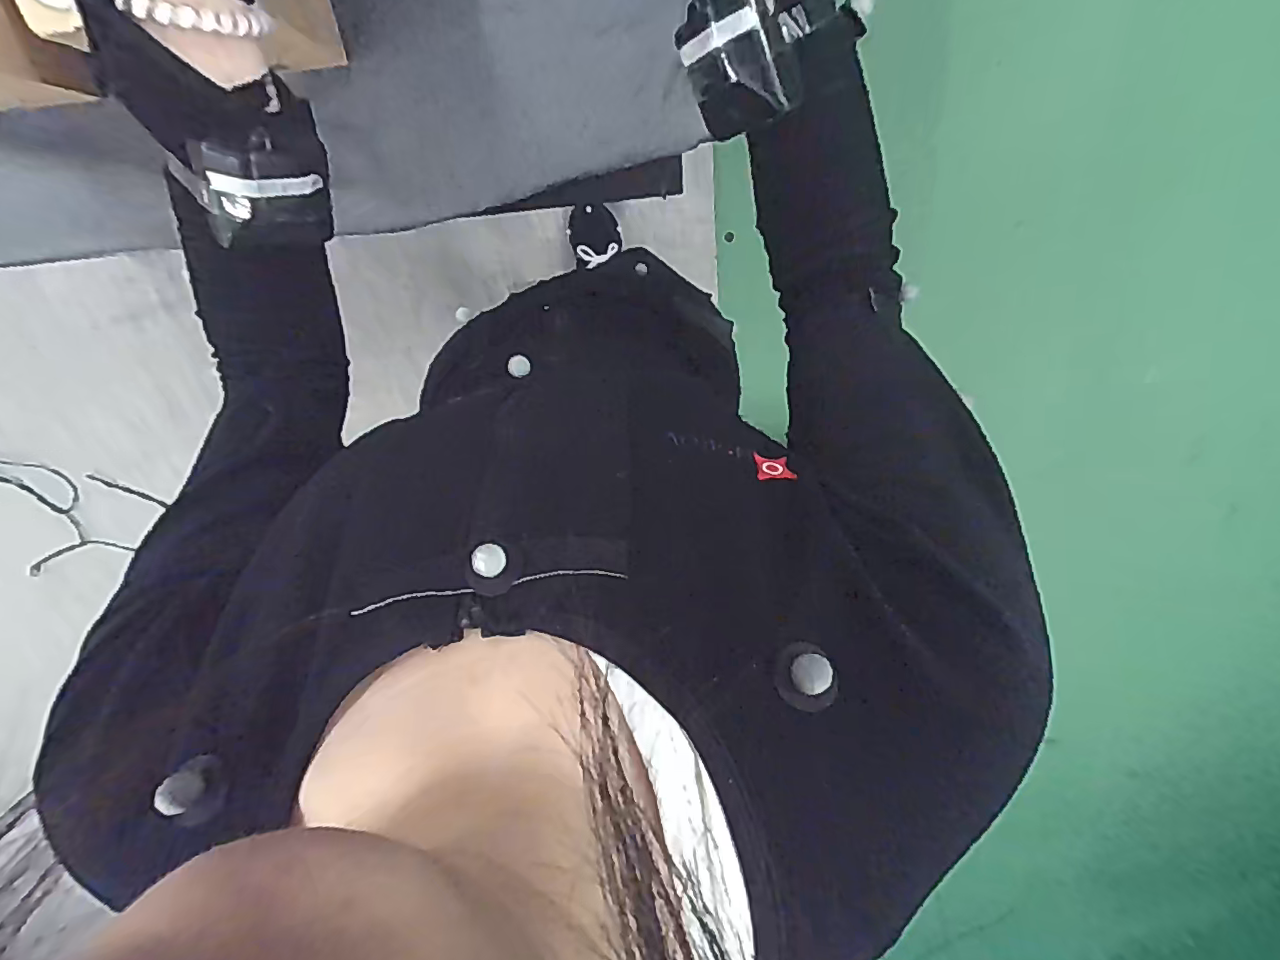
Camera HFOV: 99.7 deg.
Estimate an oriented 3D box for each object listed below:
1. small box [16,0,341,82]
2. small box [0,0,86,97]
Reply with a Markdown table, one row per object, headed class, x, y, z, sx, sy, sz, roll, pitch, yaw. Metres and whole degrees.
| class | x | y | z | sx | sy | sz | roll | pitch | yaw |
| --- | --- | --- | --- | --- | --- | --- | --- | --- | --- |
| small box | -0.375 | -0.447 | 0.427 | 0.168 | 0.176 | 0.179 | -8 | 116 | -1 |
| small box | -0.615 | -0.413 | 0.422 | 0.168 | 0.176 | 0.179 | -7 | 116 | -2 |
